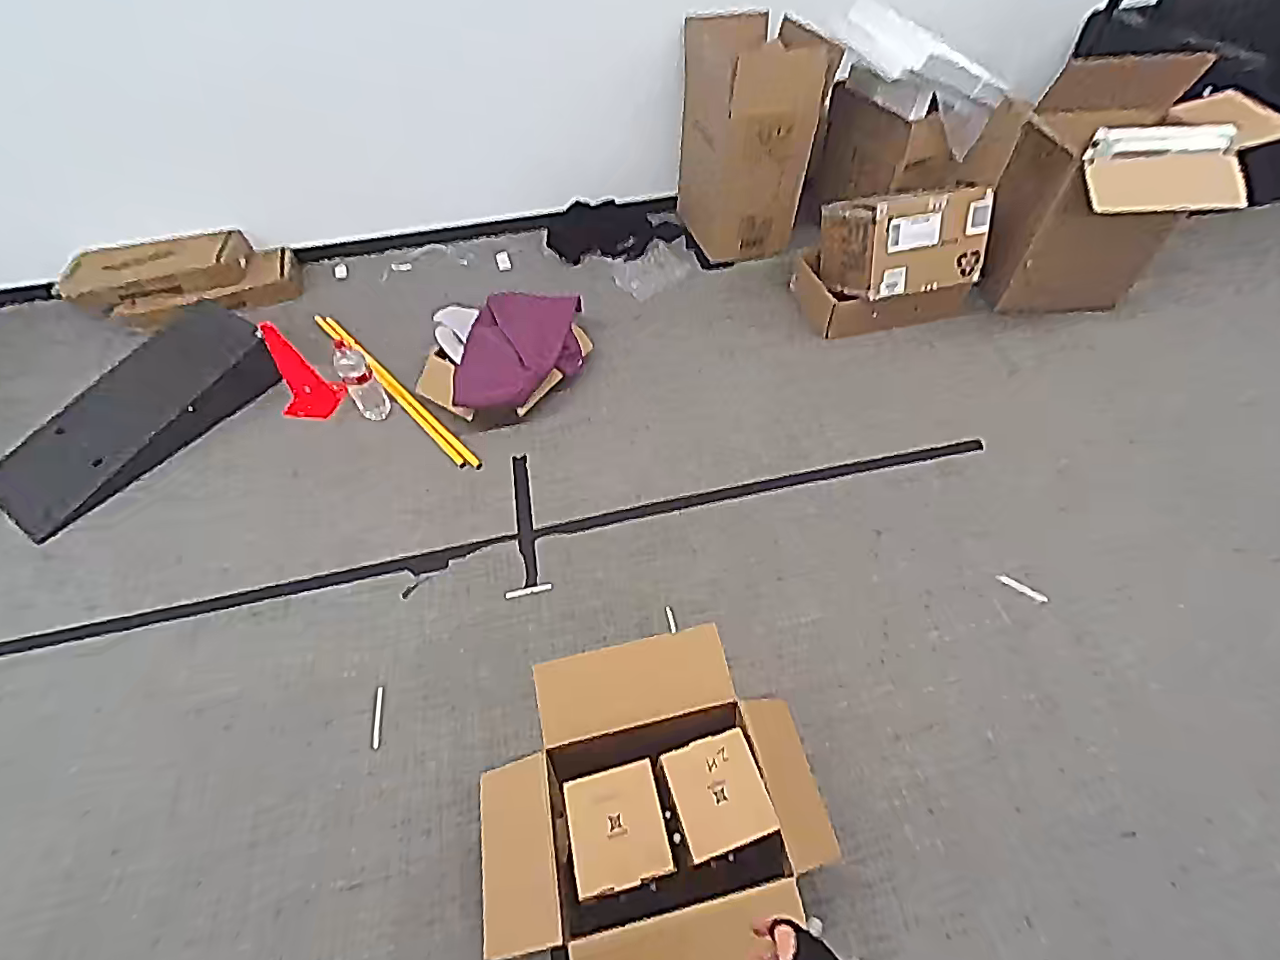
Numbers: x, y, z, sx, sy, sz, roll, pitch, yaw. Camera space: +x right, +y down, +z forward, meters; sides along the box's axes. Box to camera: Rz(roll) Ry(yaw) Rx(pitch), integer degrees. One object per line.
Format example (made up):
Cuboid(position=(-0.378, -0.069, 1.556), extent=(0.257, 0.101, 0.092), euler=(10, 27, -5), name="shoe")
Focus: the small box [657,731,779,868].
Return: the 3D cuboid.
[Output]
Cuboid(position=(0.137, 0.610, 1.028), extent=(0.168, 0.176, 0.179), euler=(-14, 53, -13), name="small box")
